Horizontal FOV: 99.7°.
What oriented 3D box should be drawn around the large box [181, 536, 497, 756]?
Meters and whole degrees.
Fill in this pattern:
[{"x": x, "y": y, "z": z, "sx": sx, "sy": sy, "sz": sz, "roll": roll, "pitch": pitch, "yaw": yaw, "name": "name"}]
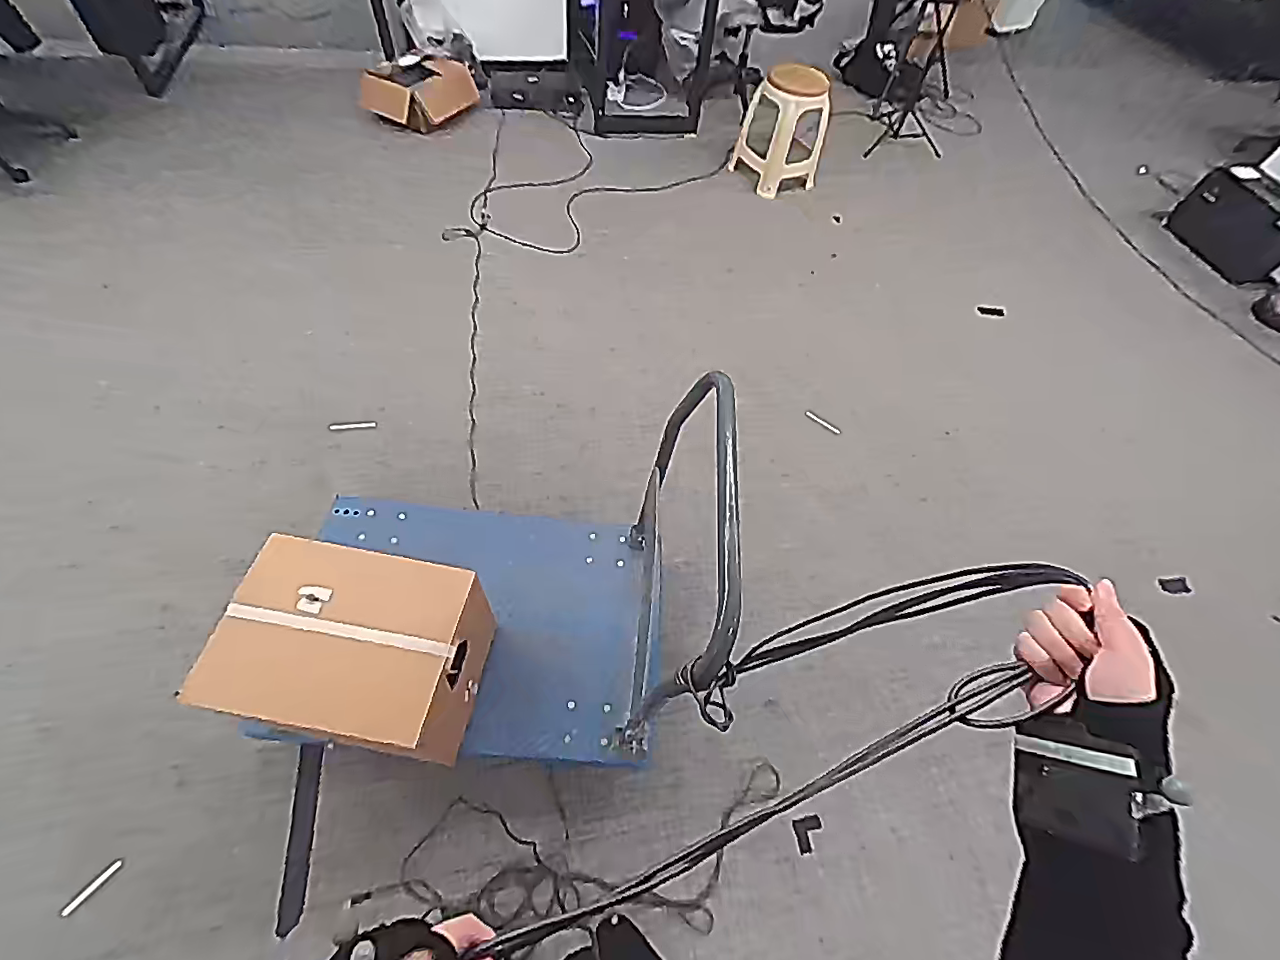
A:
[{"x": -0.538, "y": 0.342, "z": 1.077, "sx": 0.408, "sy": 0.320, "sz": 0.320, "roll": 10, "pitch": 57, "yaw": 1, "name": "large box"}]
